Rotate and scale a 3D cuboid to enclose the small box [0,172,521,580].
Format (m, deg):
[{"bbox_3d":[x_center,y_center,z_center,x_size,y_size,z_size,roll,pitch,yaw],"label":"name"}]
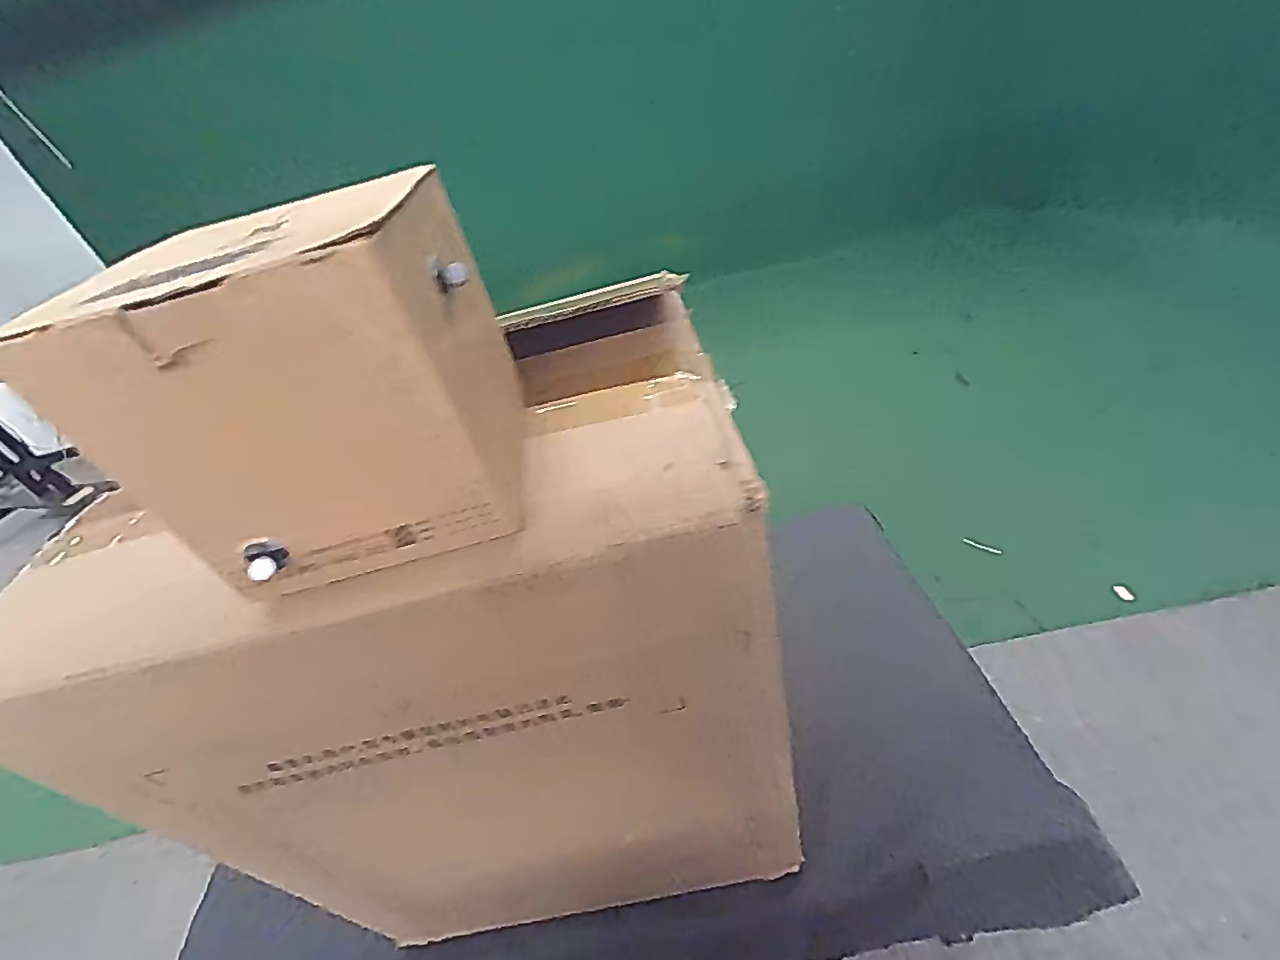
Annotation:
[{"bbox_3d":[-0.179,-0.059,0.329,0.168,0.176,0.179,-15,38,2],"label":"small box"}]
